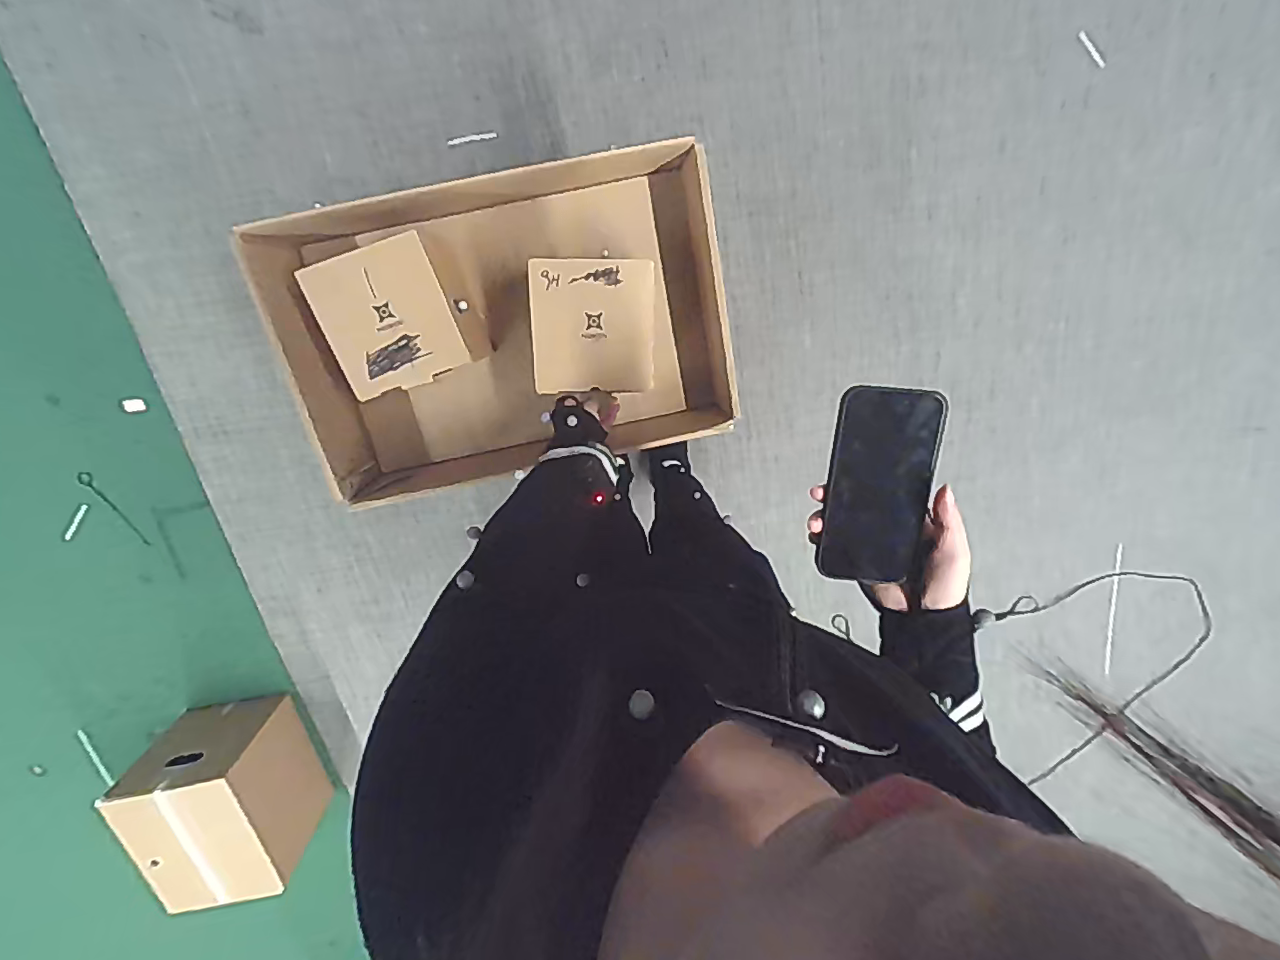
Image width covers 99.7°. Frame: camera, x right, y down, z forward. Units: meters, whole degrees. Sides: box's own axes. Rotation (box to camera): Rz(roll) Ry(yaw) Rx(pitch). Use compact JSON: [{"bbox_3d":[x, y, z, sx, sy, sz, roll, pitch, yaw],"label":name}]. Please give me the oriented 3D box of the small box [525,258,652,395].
[{"bbox_3d":[-0.072,-0.227,0.796,0.168,0.176,0.179,-1,108,-4],"label":"small box"}]
